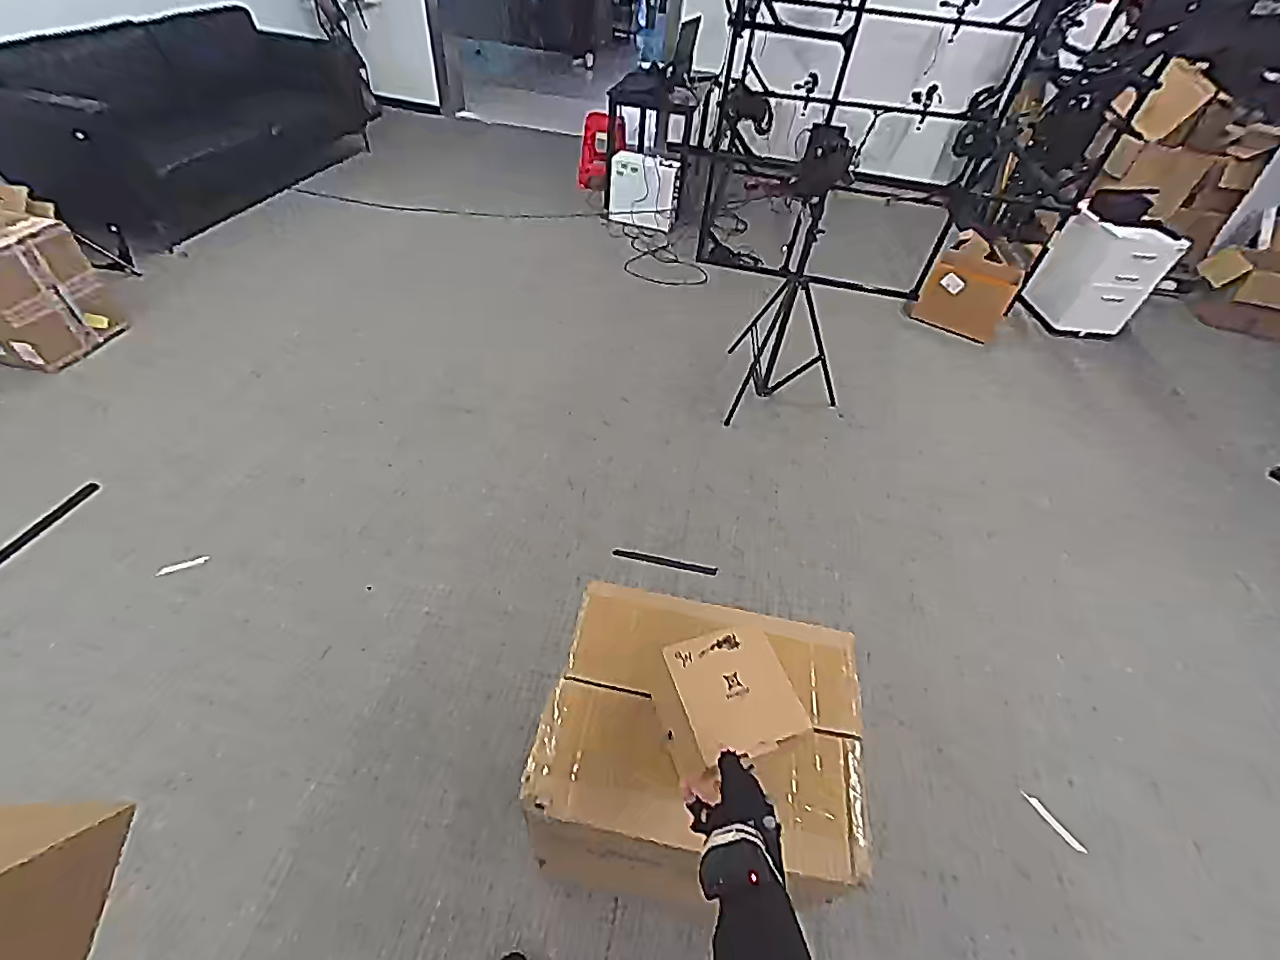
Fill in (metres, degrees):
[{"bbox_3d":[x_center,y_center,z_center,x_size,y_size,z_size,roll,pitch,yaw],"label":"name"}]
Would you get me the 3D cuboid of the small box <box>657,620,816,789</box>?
[{"bbox_3d":[0.134,0.348,0.827,0.168,0.176,0.179,-12,50,-16],"label":"small box"}]
